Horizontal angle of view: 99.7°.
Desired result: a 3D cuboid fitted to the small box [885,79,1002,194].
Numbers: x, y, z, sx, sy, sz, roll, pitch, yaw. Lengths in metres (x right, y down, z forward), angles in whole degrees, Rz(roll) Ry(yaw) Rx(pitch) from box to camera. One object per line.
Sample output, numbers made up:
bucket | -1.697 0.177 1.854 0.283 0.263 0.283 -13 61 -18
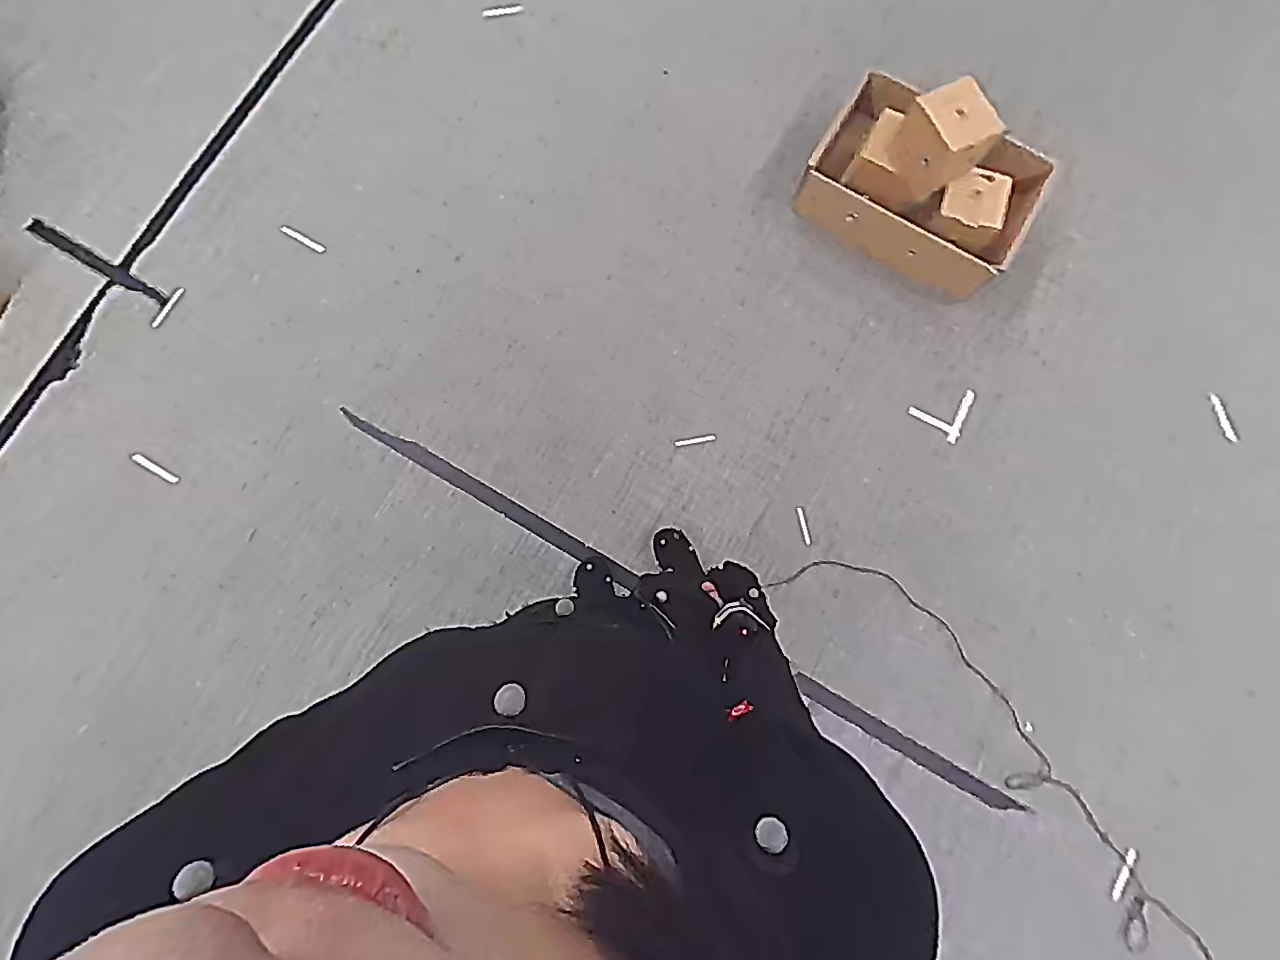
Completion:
small box | 0.787 -0.889 1.421 0.168 0.176 0.179 -27 81 -7

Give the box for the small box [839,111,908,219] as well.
small box | 0.715 -0.918 1.588 0.168 0.176 0.179 28 82 2
